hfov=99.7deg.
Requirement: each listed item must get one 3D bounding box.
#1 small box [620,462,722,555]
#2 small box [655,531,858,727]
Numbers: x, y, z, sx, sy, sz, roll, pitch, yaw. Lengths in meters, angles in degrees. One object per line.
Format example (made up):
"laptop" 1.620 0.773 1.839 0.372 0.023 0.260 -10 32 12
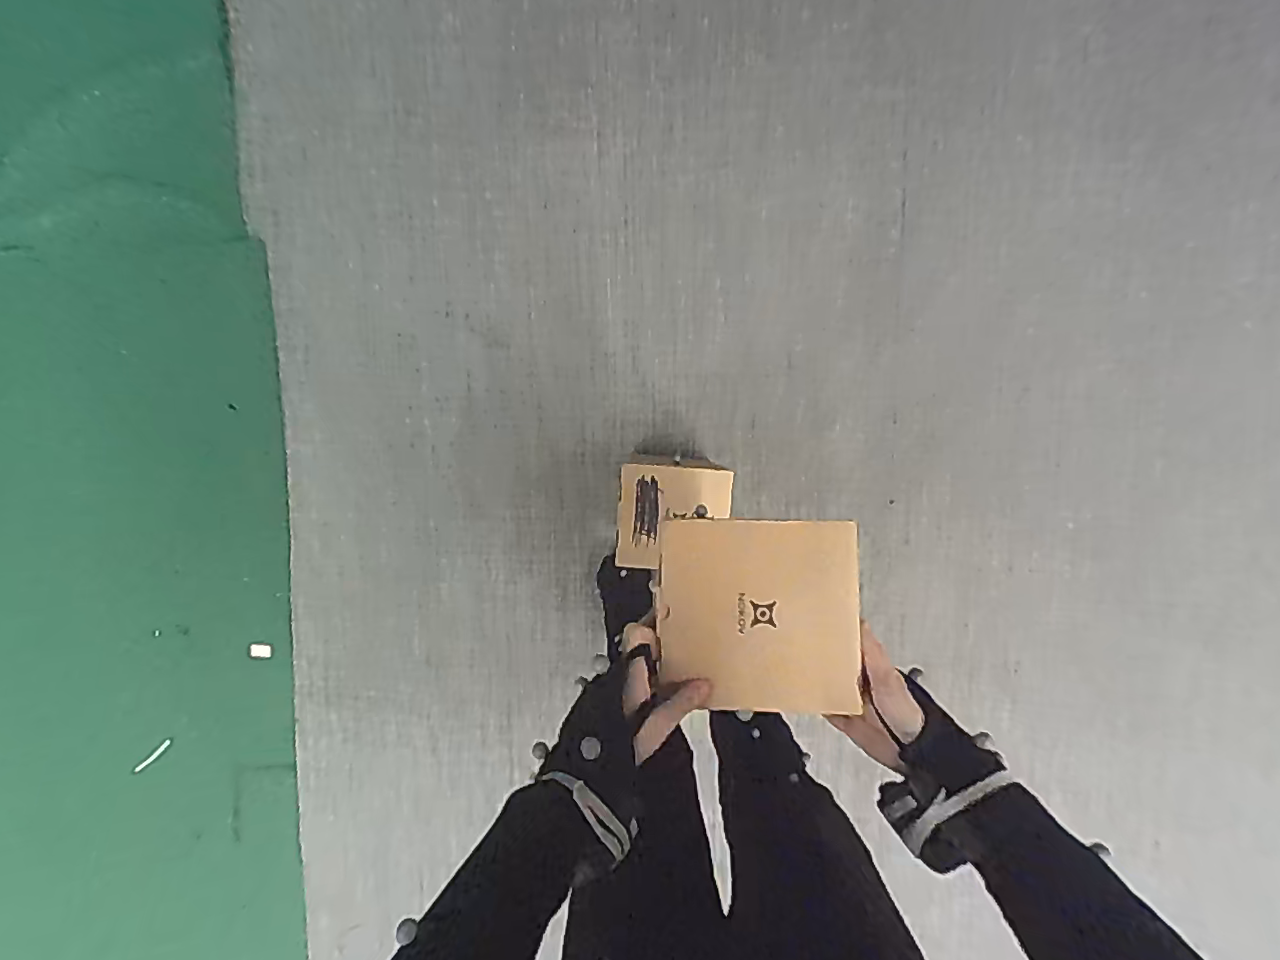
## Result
"small box" 0.059 0.055 1.083 0.179 0.176 0.168 6 95 2
"small box" 0.107 0.137 0.553 0.179 0.176 0.168 0 84 6
